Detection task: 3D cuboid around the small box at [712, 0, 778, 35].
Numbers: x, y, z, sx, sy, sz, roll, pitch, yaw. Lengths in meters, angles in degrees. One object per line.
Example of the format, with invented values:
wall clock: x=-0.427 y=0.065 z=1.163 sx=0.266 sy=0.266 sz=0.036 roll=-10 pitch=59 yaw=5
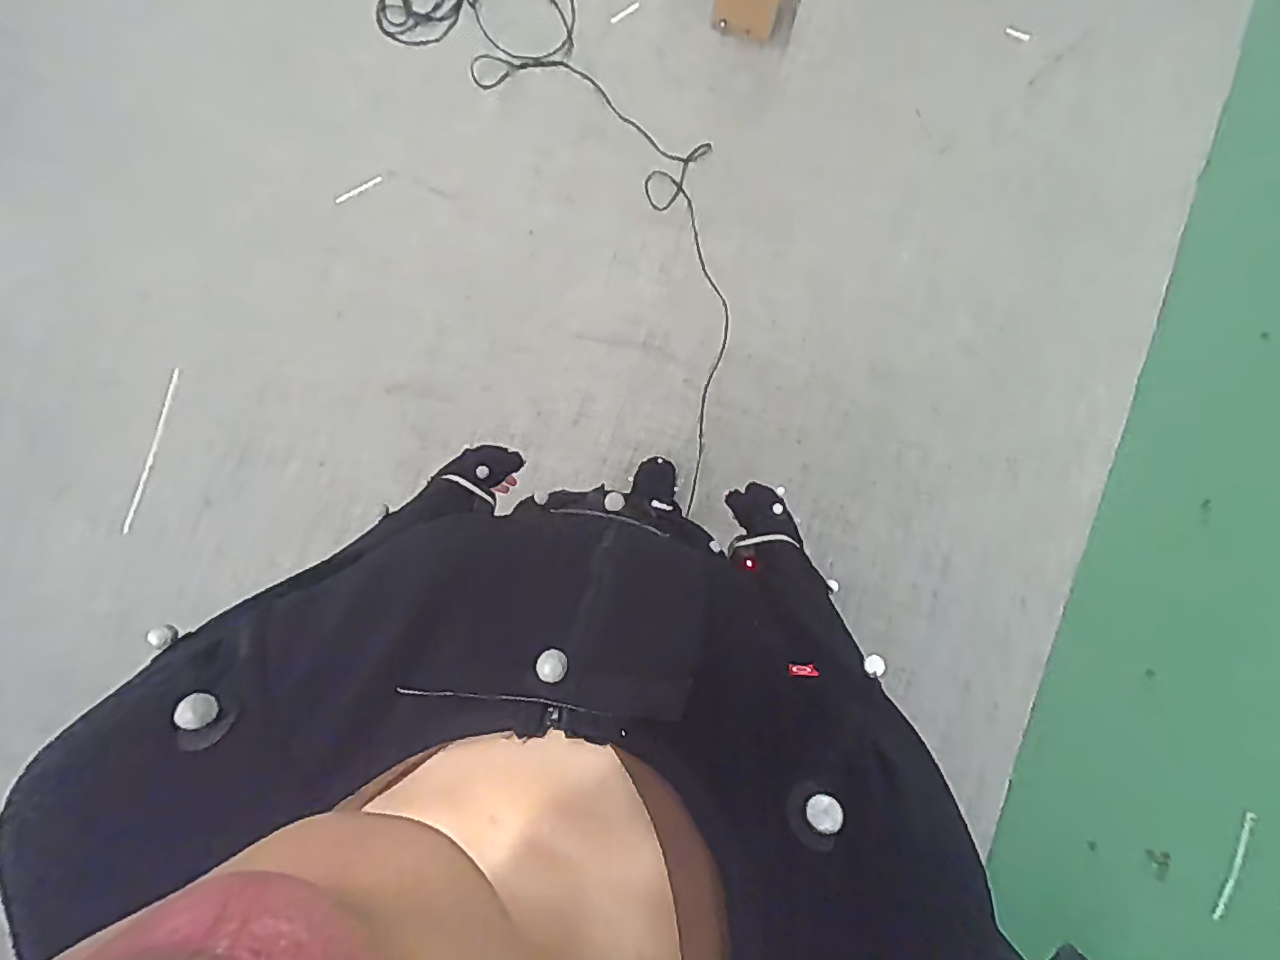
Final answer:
small box: x=0.292 y=-1.321 z=1.409 sx=0.168 sy=0.176 sz=0.179 roll=15 pitch=89 yaw=0
